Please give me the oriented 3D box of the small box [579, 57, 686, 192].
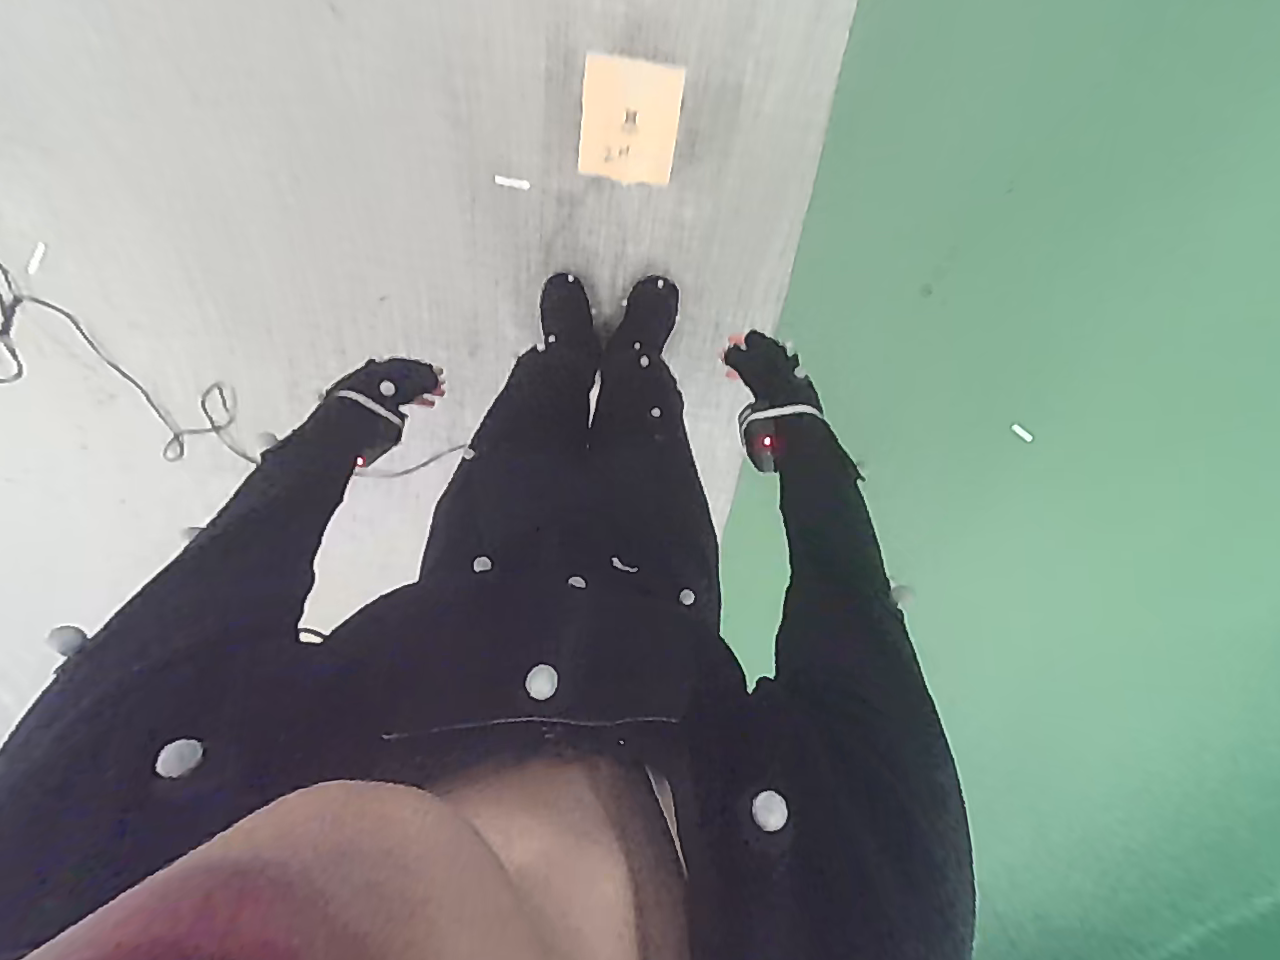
[{"bbox_3d":[-0.015,-0.649,1.001,0.168,0.176,0.179,8,122,-3],"label":"small box"}]
